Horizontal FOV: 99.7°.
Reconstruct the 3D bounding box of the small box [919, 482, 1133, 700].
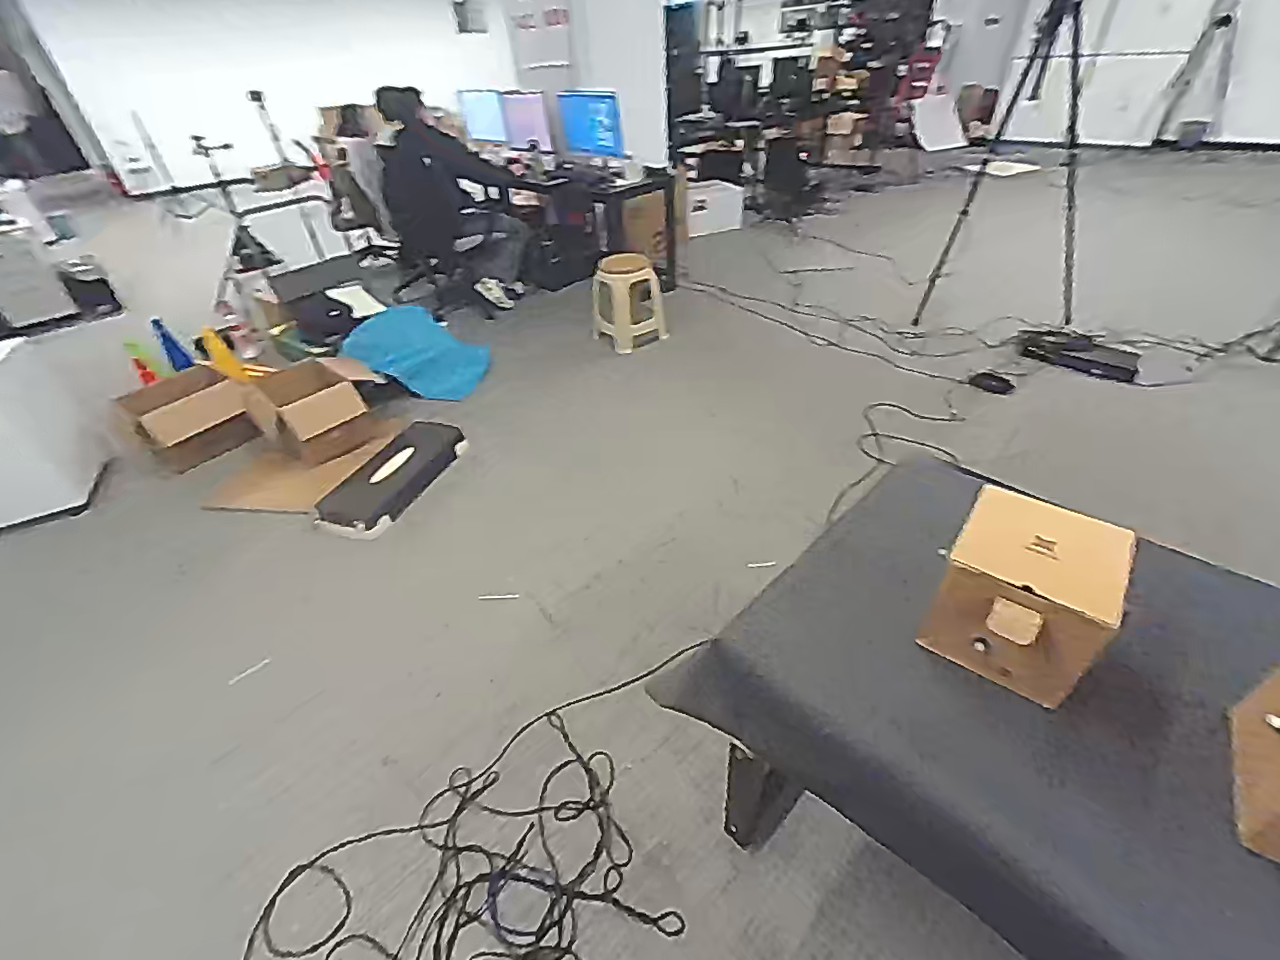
[{"bbox_3d":[0.485,0.138,0.696,0.168,0.176,0.179,25,47,31],"label":"small box"}]
